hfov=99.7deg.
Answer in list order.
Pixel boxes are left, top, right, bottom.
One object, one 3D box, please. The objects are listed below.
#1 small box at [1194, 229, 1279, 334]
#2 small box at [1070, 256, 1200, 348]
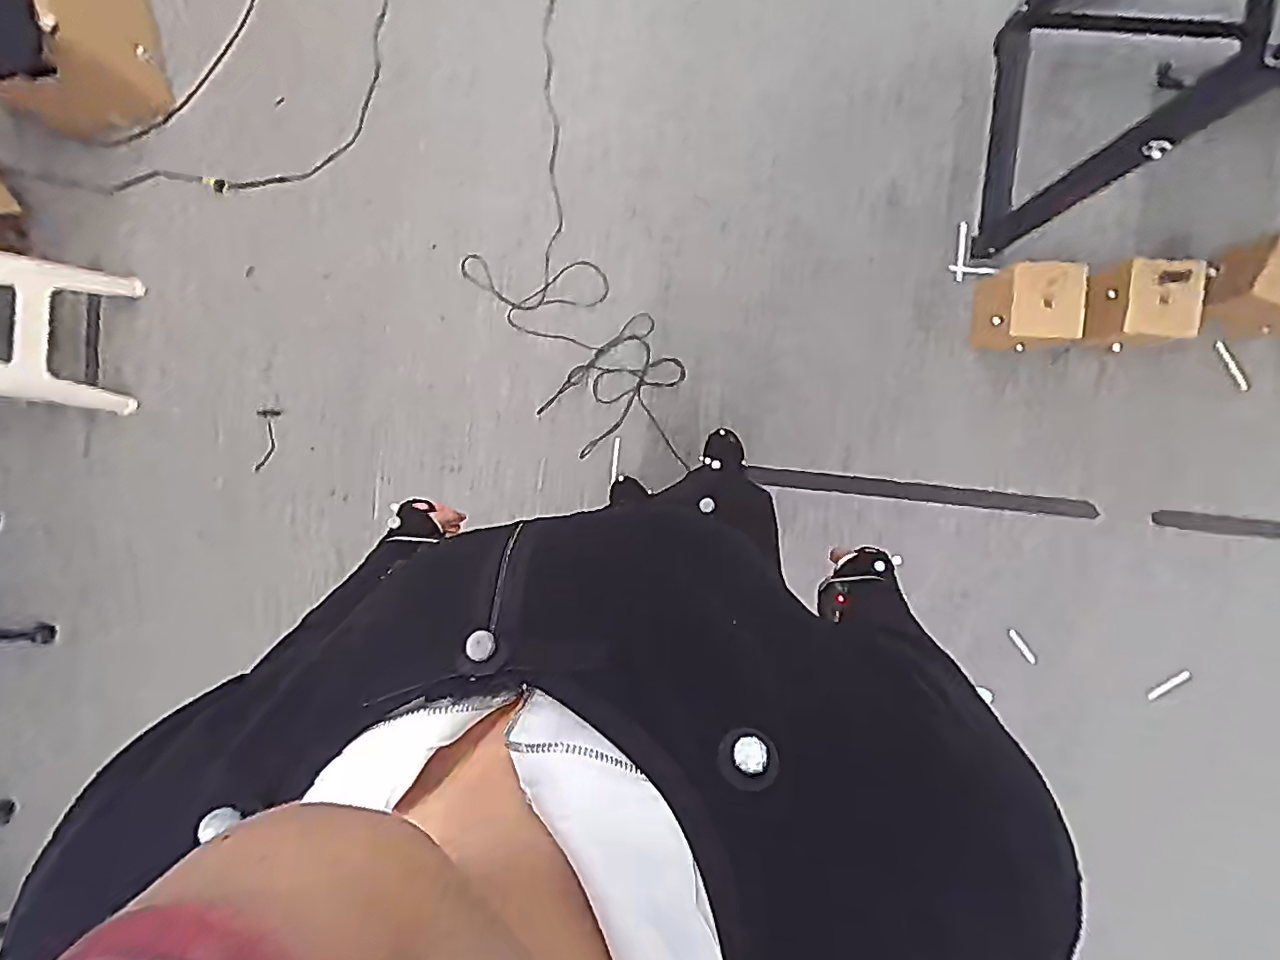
[{"bbox_3d":[1.515,-0.475,1.326,0.179,0.176,0.168,26,93,3],"label":"small box"},{"bbox_3d":[1.217,-0.436,1.342,0.168,0.176,0.179,4,94,3],"label":"small box"}]
